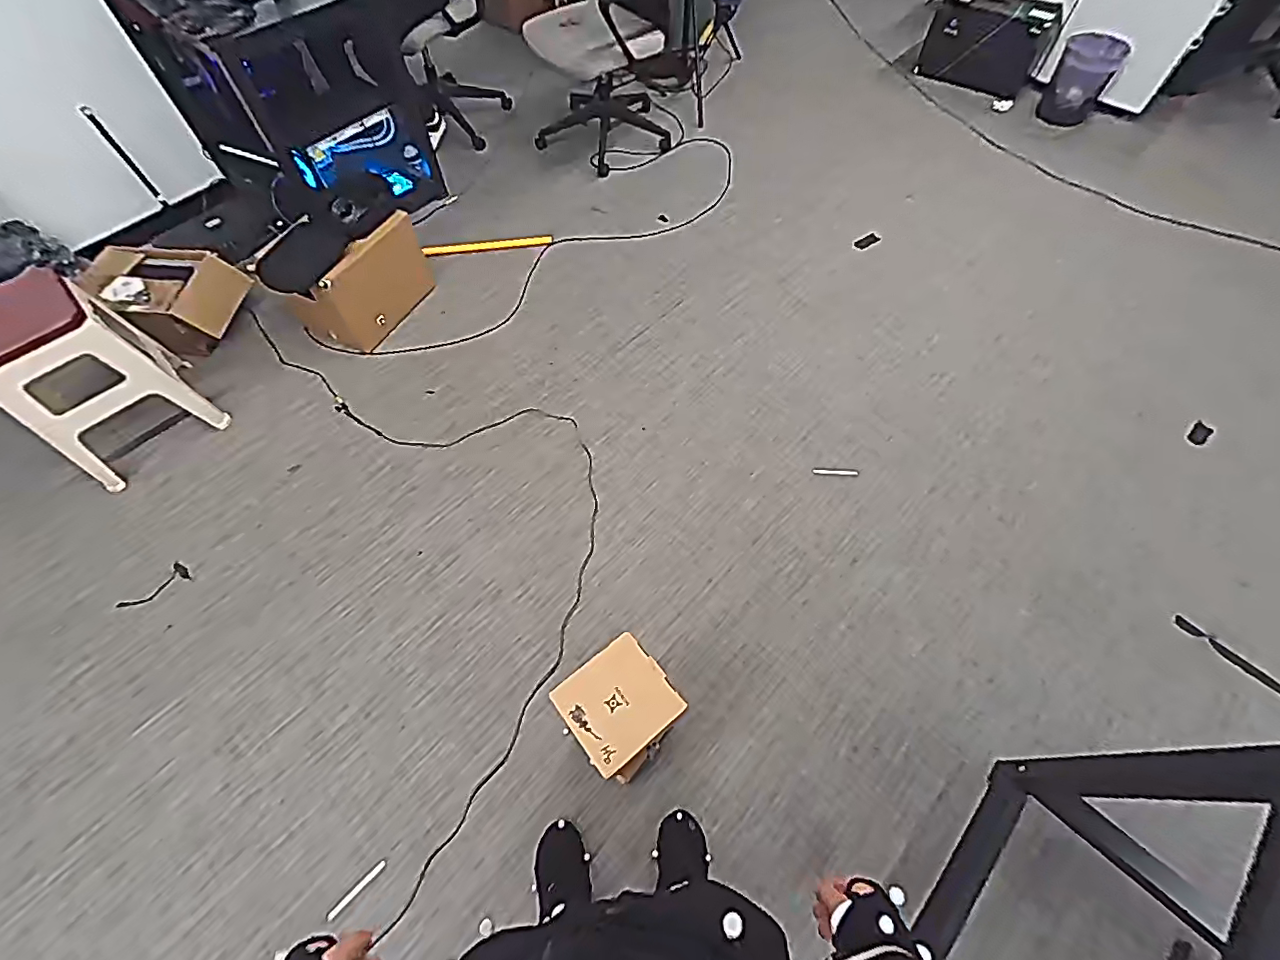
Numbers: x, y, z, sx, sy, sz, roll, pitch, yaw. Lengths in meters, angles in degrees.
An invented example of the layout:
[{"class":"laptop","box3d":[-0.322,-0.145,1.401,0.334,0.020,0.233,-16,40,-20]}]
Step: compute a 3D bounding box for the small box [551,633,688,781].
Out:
[{"class":"small box","box3d":[-0.038,0.409,0.973,0.179,0.176,0.168,-35,66,-19]}]
